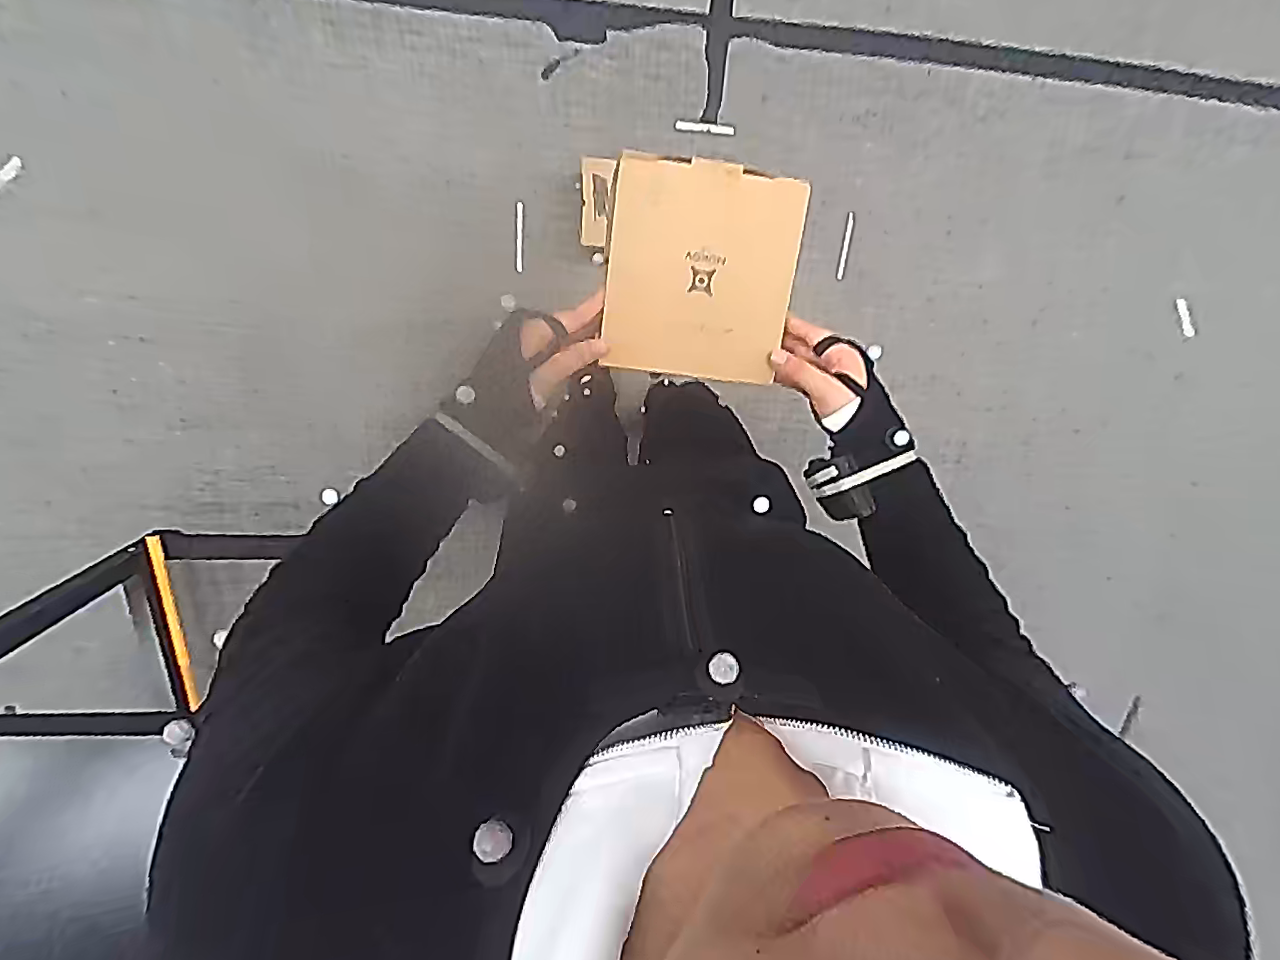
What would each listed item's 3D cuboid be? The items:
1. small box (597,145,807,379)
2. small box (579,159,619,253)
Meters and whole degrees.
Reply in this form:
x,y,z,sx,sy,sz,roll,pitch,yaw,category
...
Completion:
x,y,z,sx,sy,sz,roll,pitch,yaw,category
0.046,-0.207,0.548,0.168,0.176,0.179,5,107,-6,small box
-0.044,-0.598,1.203,0.179,0.176,0.168,1,110,-6,small box
